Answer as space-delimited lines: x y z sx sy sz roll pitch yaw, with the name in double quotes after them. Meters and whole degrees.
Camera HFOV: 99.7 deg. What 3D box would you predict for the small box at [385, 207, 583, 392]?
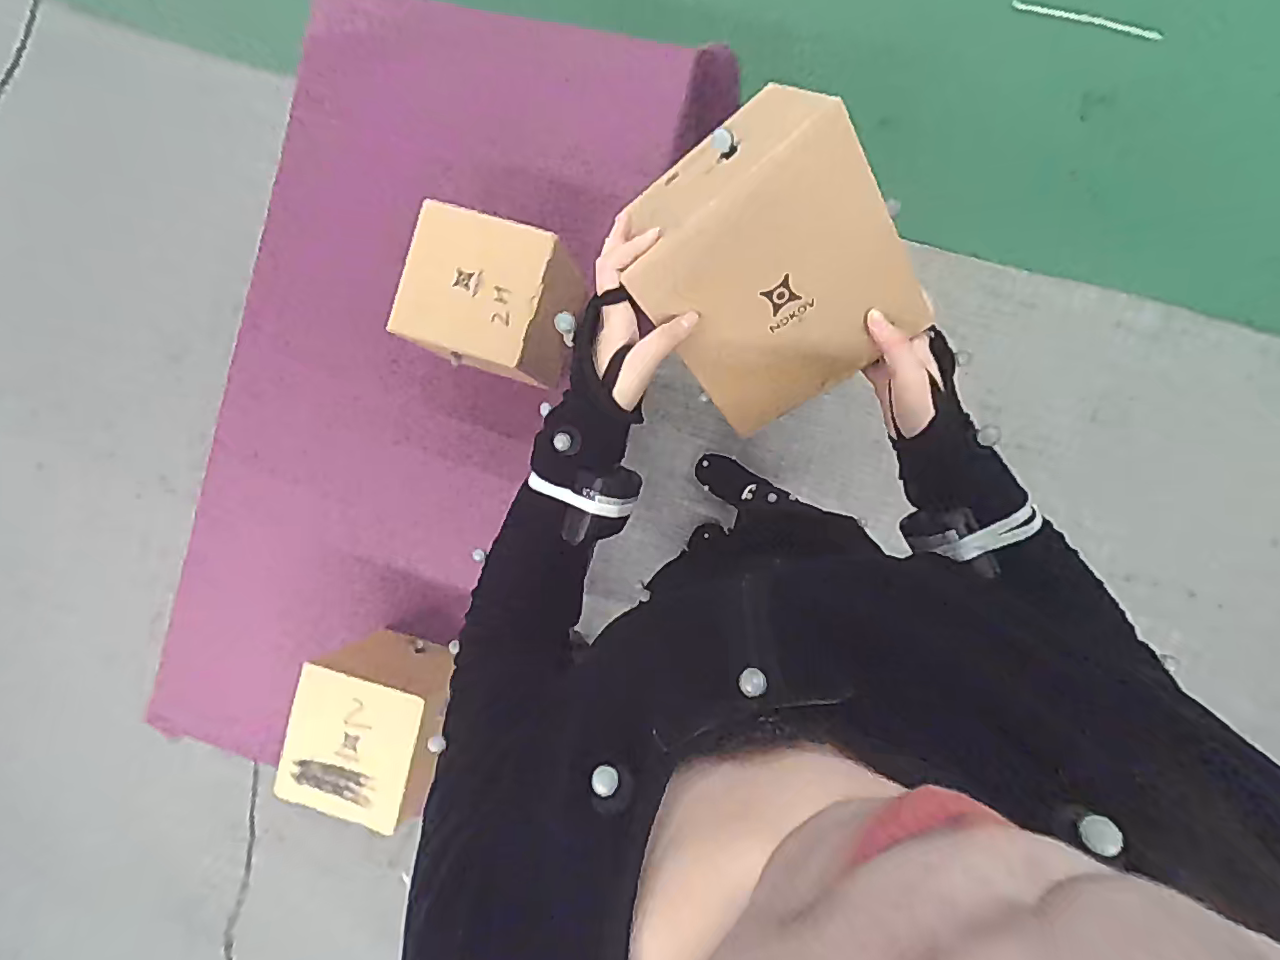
-0.196 -0.228 0.726 0.179 0.176 0.168 18 92 6 "small box"
